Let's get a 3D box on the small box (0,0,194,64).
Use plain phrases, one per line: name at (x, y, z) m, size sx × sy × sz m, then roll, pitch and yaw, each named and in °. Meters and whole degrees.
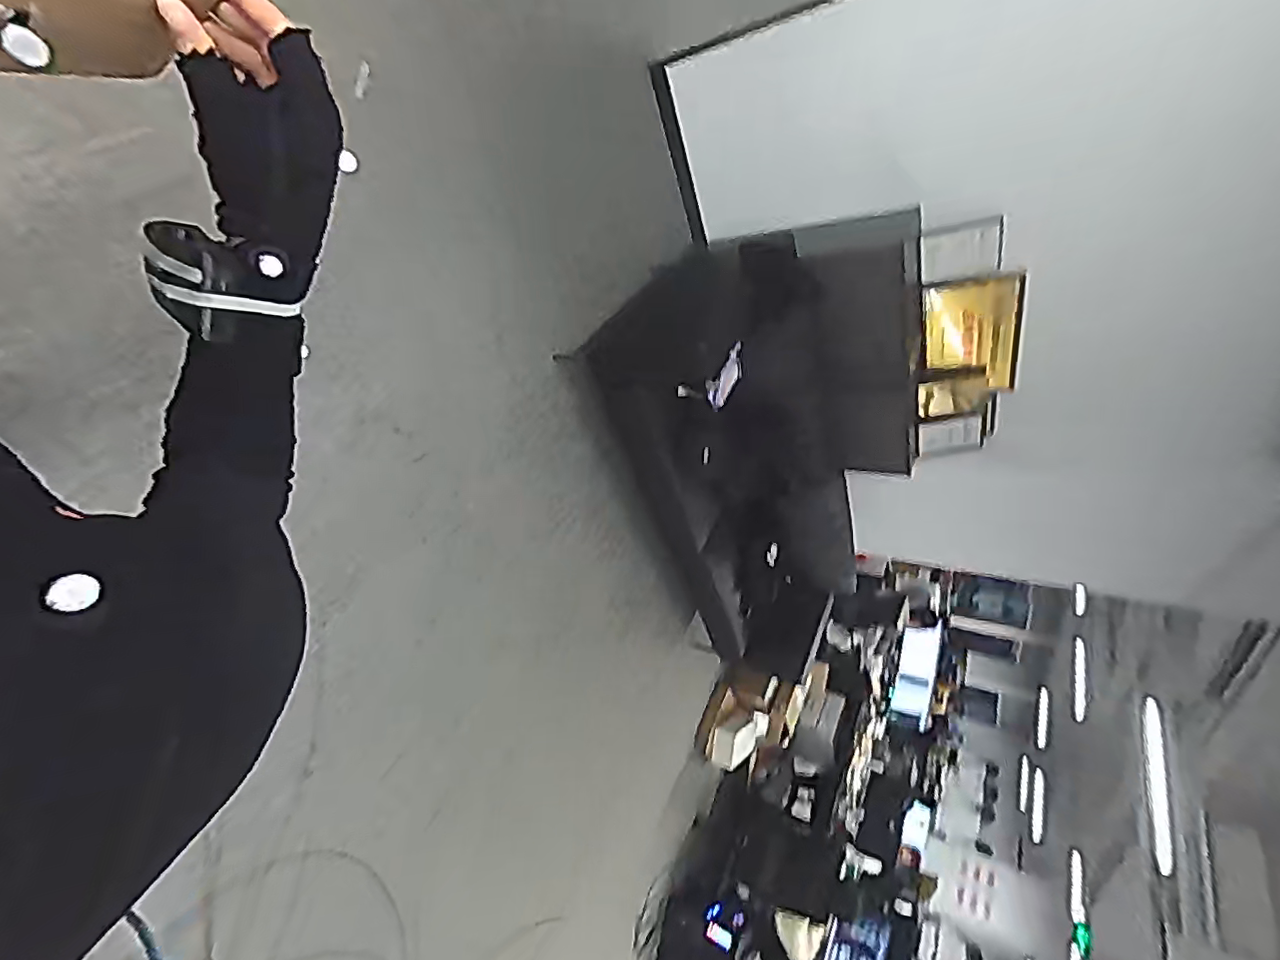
small box at (-0.292, -0.292, 0.201) m, size 0.168 × 0.176 × 0.179 m, roll 62°, pitch 31°, yaw -24°
